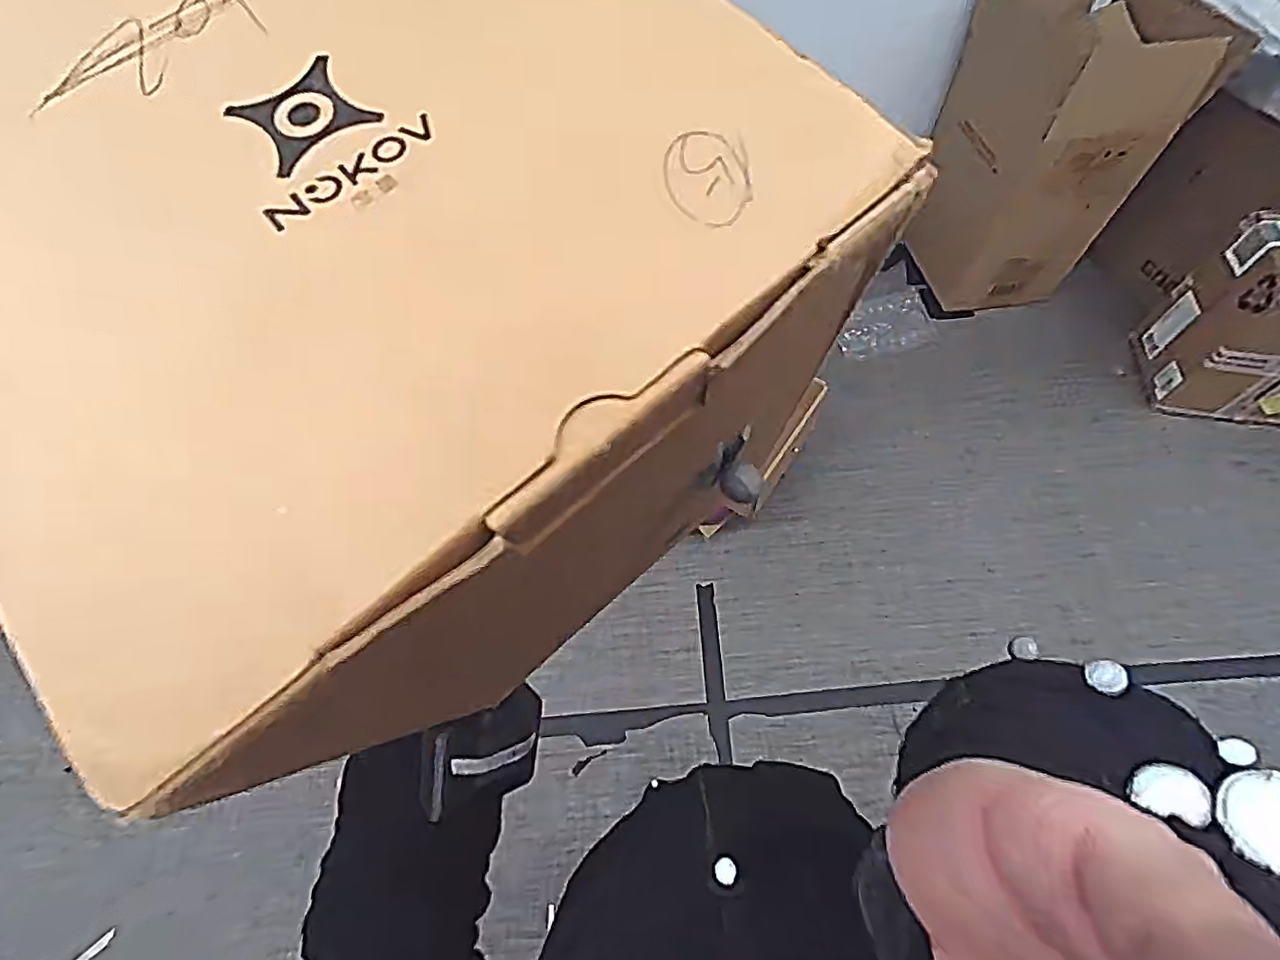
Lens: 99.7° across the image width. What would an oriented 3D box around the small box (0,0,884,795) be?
[{"bbox_3d":[-0.061,-0.037,0.195,0.168,0.176,0.179,-40,75,-11],"label":"small box"}]
